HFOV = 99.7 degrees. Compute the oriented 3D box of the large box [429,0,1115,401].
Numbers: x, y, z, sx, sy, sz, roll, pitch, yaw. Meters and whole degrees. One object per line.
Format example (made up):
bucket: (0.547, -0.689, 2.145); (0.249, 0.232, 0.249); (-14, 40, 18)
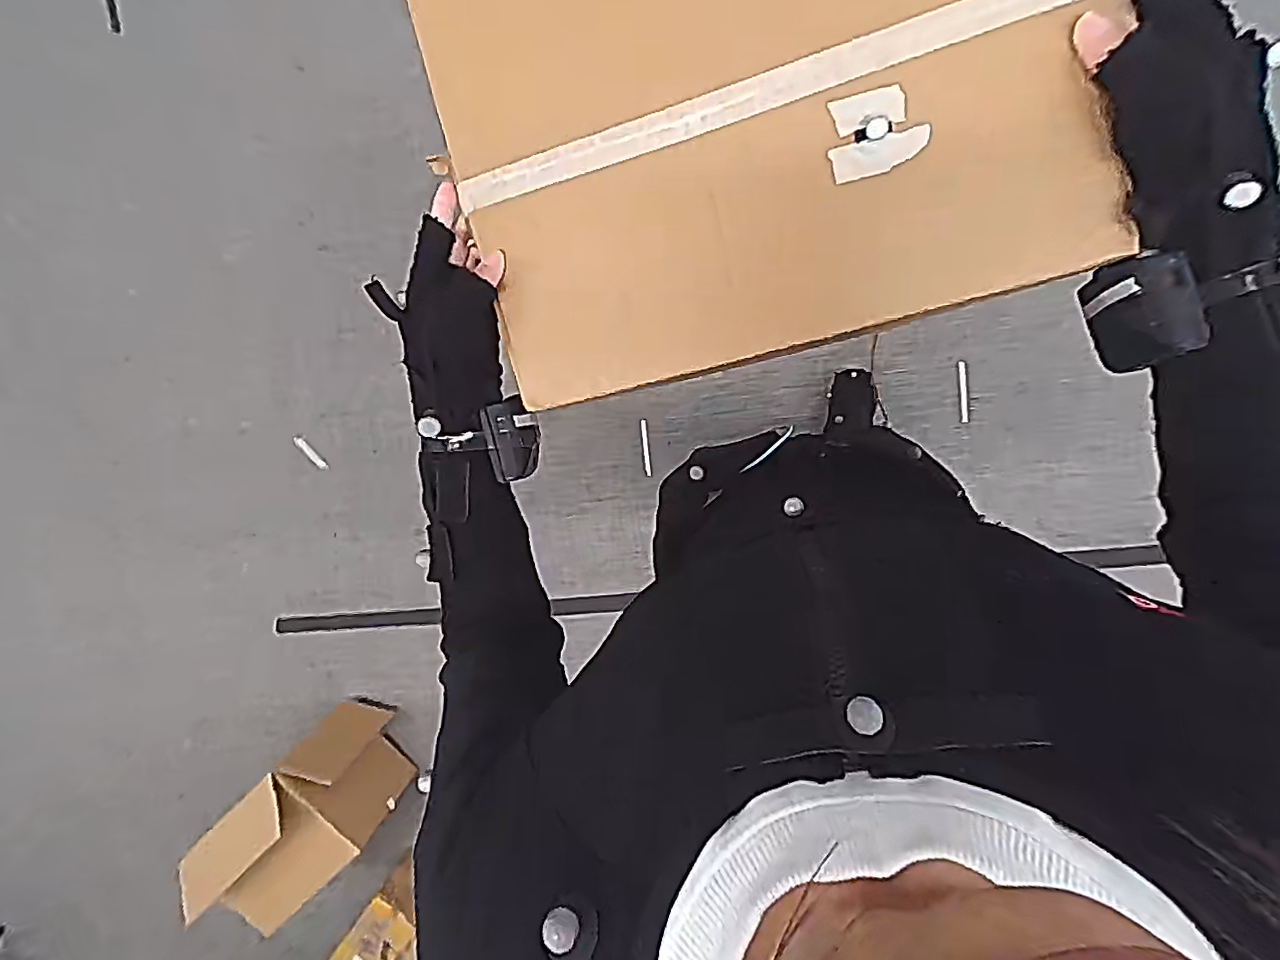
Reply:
large box: (0.095, -0.276, 0.503); (0.408, 0.320, 0.320); (-13, 99, 10)
